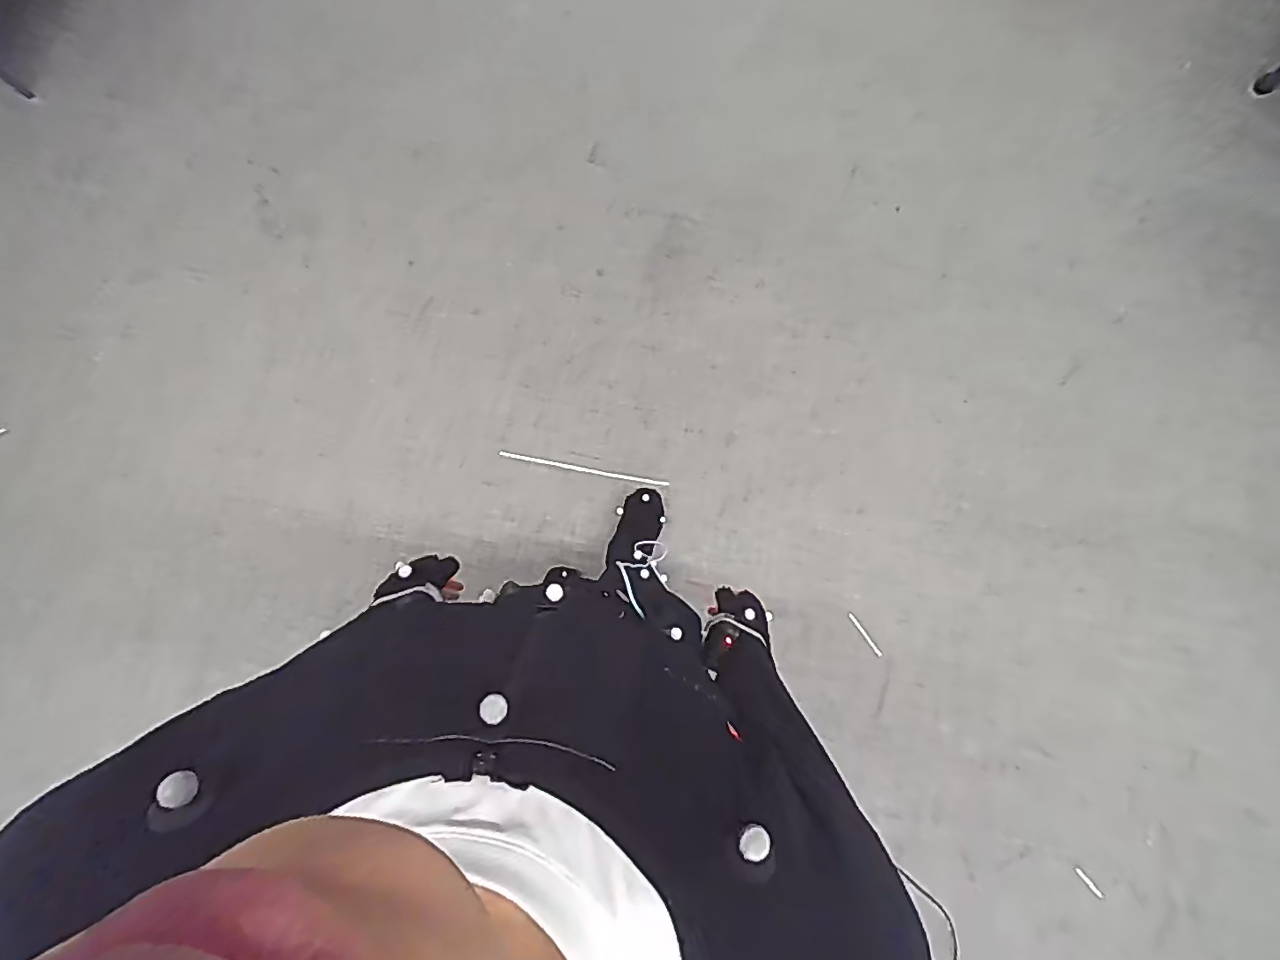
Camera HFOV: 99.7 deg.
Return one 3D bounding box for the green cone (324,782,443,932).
[{"bbox_3d":[-0.593,0.851,1.185,0.202,0.368,0.200,10,82,-4],"label":"green cone"}]
